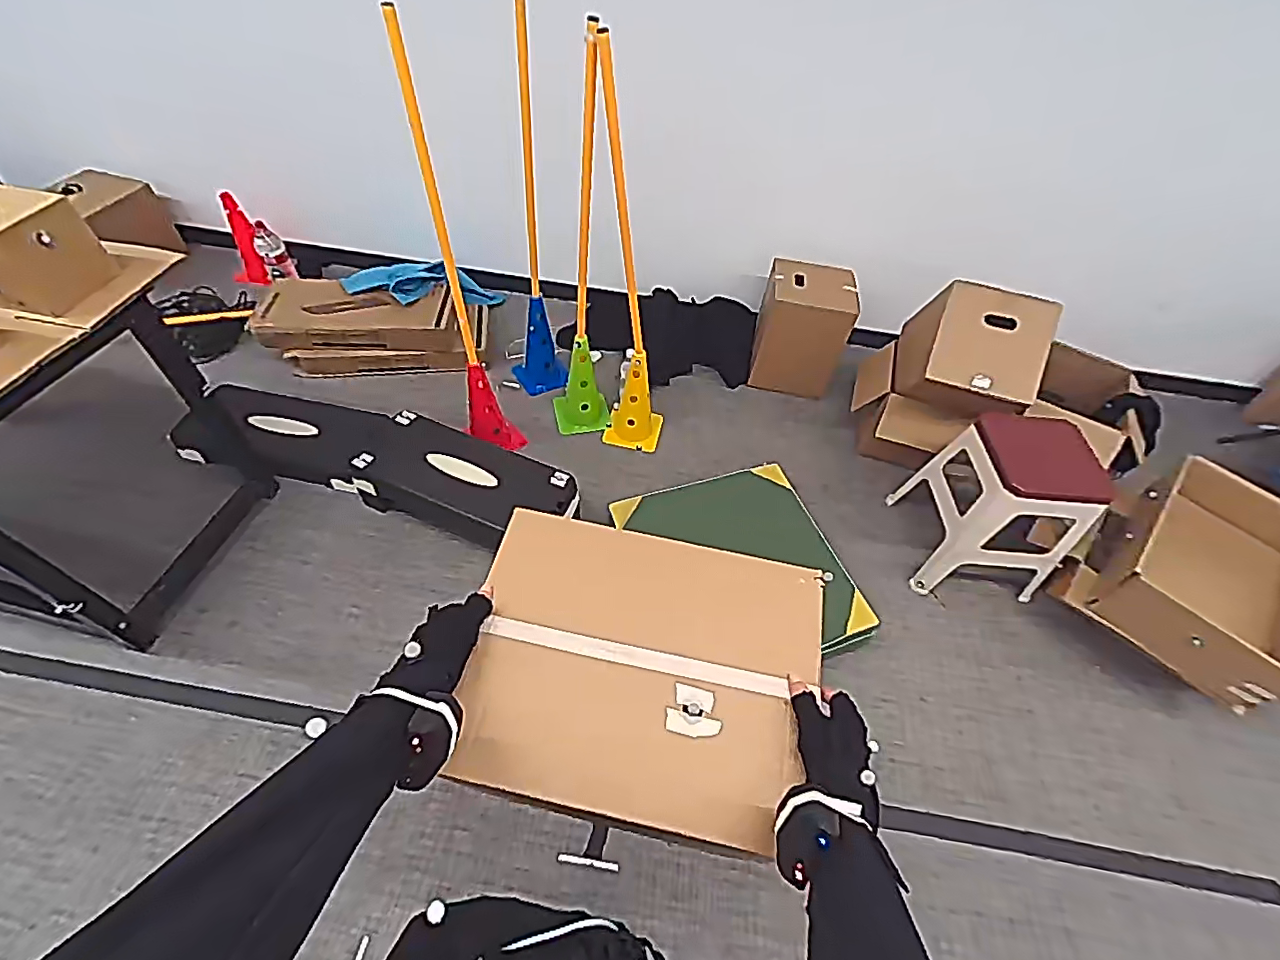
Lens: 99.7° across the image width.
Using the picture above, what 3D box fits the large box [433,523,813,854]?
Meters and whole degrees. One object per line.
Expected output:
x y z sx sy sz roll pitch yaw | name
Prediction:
-0.007 0.298 0.756 0.408 0.320 0.320 12 57 3 | large box
